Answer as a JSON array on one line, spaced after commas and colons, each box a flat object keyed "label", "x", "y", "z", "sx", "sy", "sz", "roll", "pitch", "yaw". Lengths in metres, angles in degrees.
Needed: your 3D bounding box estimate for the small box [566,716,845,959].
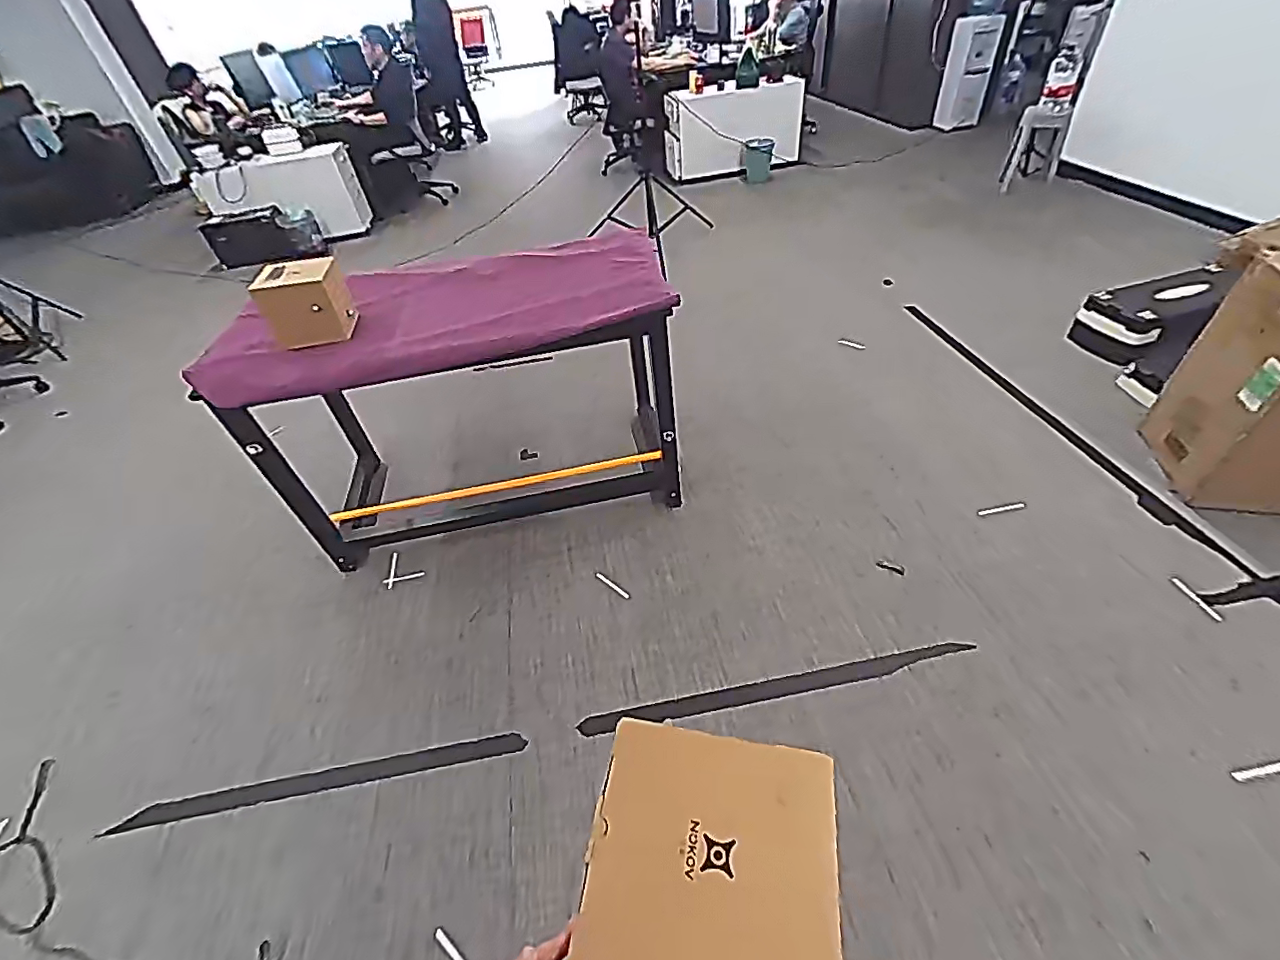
[{"label": "small box", "x": 0.058, "y": 0.318, "z": 0.440, "sx": 0.179, "sy": 0.176, "sz": 0.168, "roll": 4, "pitch": 47, "yaw": 11}]
